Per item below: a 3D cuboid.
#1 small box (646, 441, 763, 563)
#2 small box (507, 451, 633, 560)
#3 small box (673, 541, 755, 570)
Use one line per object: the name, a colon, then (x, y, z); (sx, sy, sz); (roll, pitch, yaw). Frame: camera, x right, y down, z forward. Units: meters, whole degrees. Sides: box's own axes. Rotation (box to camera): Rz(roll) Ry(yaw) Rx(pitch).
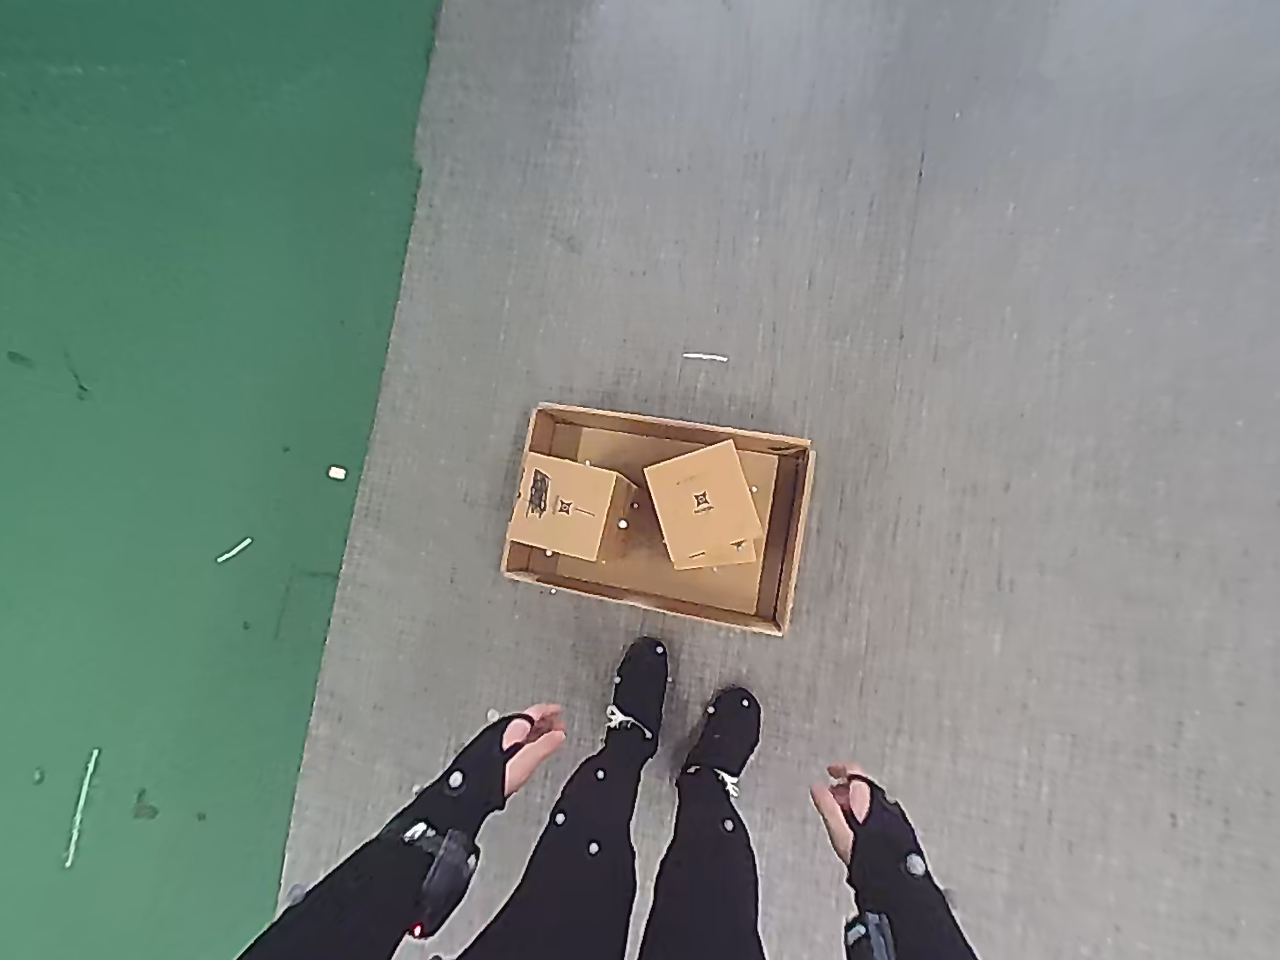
small box: (0.123, 0.044, 1.000); (0.168, 0.176, 0.179); (-17, 81, 7)
small box: (-0.126, 0.054, 1.043); (0.179, 0.176, 0.168); (13, 85, 10)
small box: (0.155, 0.094, 1.156); (0.168, 0.176, 0.179); (-7, 82, 10)
